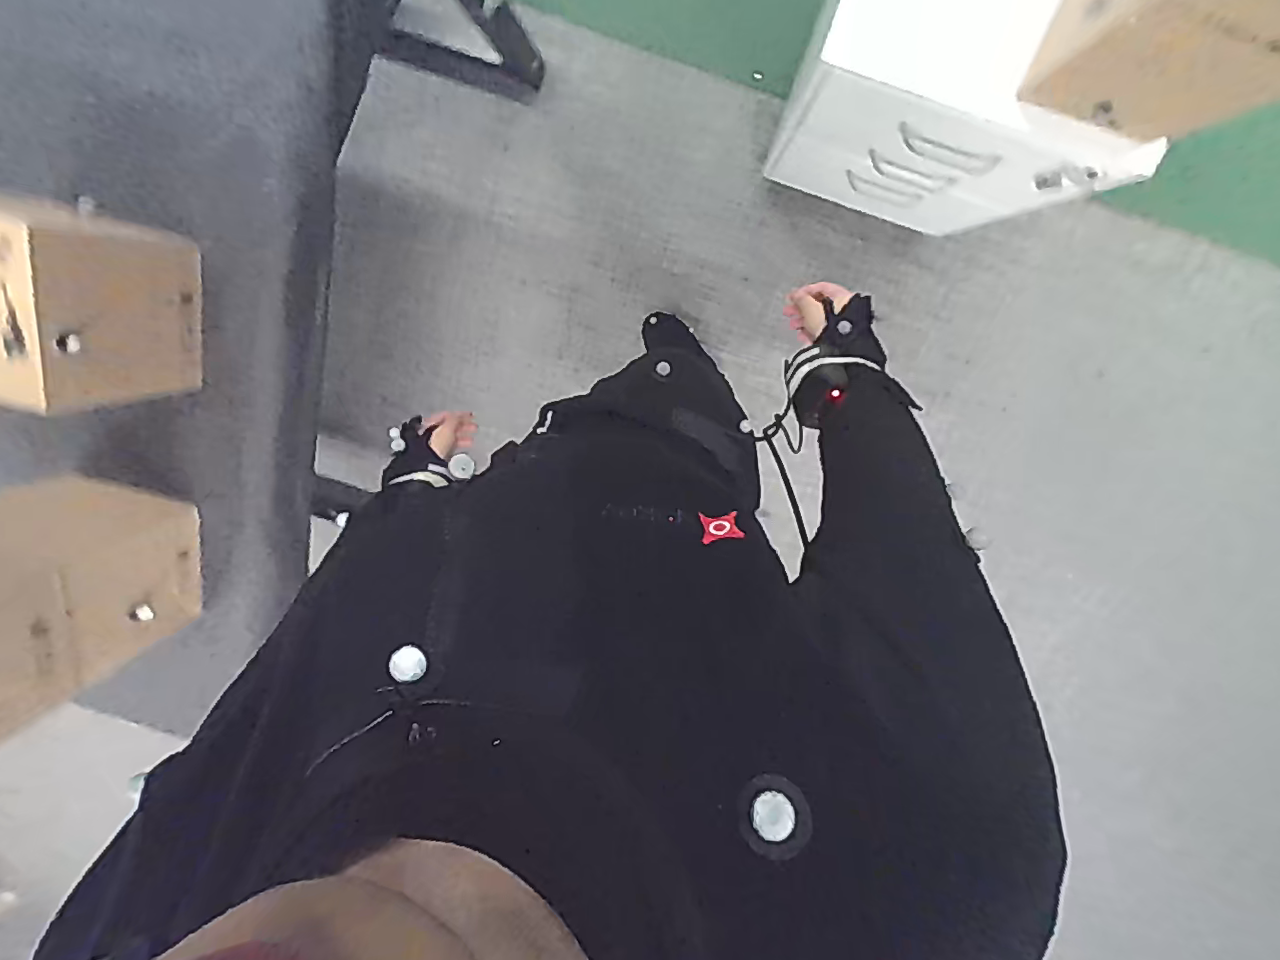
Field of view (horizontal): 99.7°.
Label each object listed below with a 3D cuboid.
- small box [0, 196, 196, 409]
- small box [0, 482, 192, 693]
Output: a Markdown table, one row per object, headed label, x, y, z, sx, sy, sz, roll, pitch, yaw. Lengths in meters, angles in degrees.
| label | x | y | z | sx | sy | sz | roll | pitch | yaw |
| --- | --- | --- | --- | --- | --- | --- | --- | --- | --- |
| small box | -0.596 | -0.182 | 0.537 | 0.179 | 0.176 | 0.168 | 15 | 109 | 1 |
| small box | -0.675 | 0.114 | 0.640 | 0.179 | 0.176 | 0.168 | 13 | 109 | 1 |
